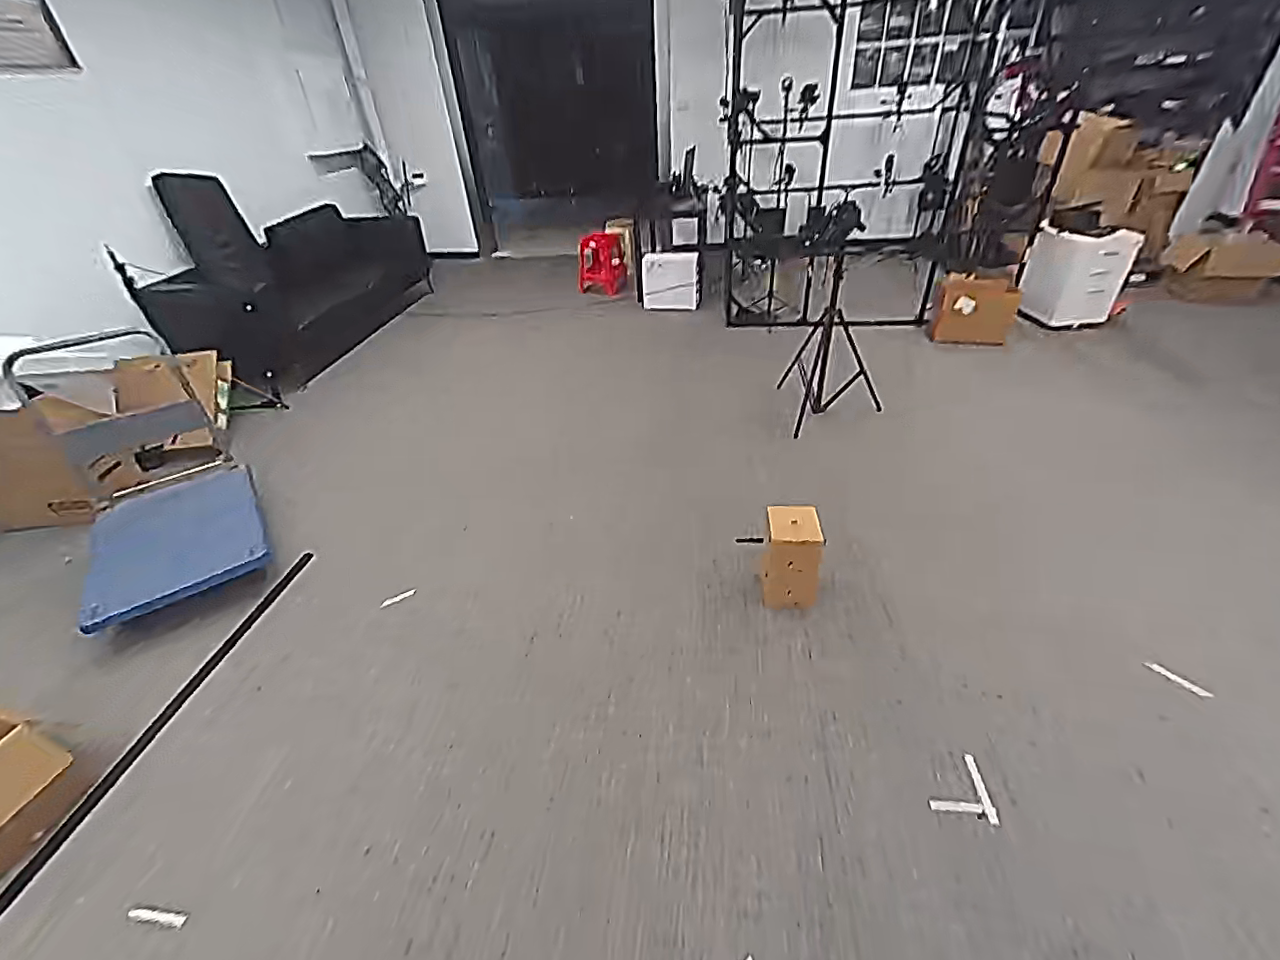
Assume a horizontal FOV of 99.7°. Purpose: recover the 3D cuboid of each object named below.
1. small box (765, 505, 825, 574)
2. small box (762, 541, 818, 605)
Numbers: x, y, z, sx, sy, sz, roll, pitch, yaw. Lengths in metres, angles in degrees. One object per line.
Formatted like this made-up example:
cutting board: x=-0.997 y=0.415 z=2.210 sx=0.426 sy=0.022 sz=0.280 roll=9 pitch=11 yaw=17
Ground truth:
small box: x=0.527 y=0.203 z=1.861 sx=0.168 sy=0.176 sz=0.179 roll=-1 pitch=37 yaw=6
small box: x=0.537 y=0.335 z=1.956 sx=0.168 sy=0.176 sz=0.179 roll=-1 pitch=36 yaw=4
